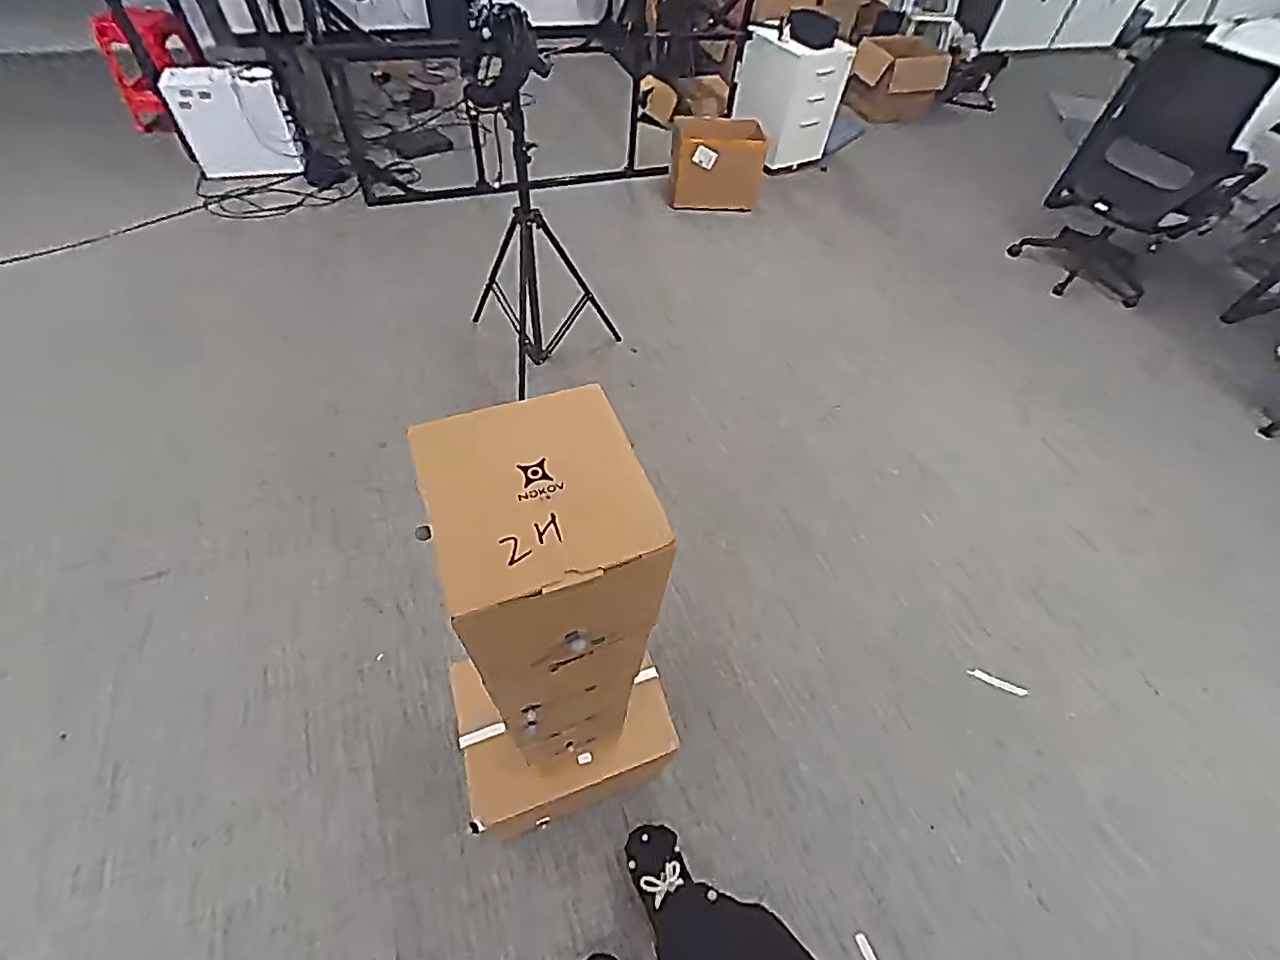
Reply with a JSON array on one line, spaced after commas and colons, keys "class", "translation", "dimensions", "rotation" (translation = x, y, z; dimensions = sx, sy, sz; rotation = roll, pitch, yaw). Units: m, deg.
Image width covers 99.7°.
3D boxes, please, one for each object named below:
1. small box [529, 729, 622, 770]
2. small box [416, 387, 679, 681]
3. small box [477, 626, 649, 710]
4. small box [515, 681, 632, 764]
[{"class": "small box", "translation": [-0.136, 0.422, 1.018], "dimensions": [0.179, 0.176, 0.168], "rotation": [-16, 58, -17]}, {"class": "small box", "translation": [-0.084, 0.050, 0.482], "dimensions": [0.168, 0.176, 0.179], "rotation": [-16, 58, -16]}, {"class": "small box", "translation": [-0.098, 0.144, 0.616], "dimensions": [0.168, 0.176, 0.179], "rotation": [-14, 56, -15]}, {"class": "small box", "translation": [-0.125, 0.334, 0.882], "dimensions": [0.168, 0.176, 0.179], "rotation": [-16, 58, -16]}]
